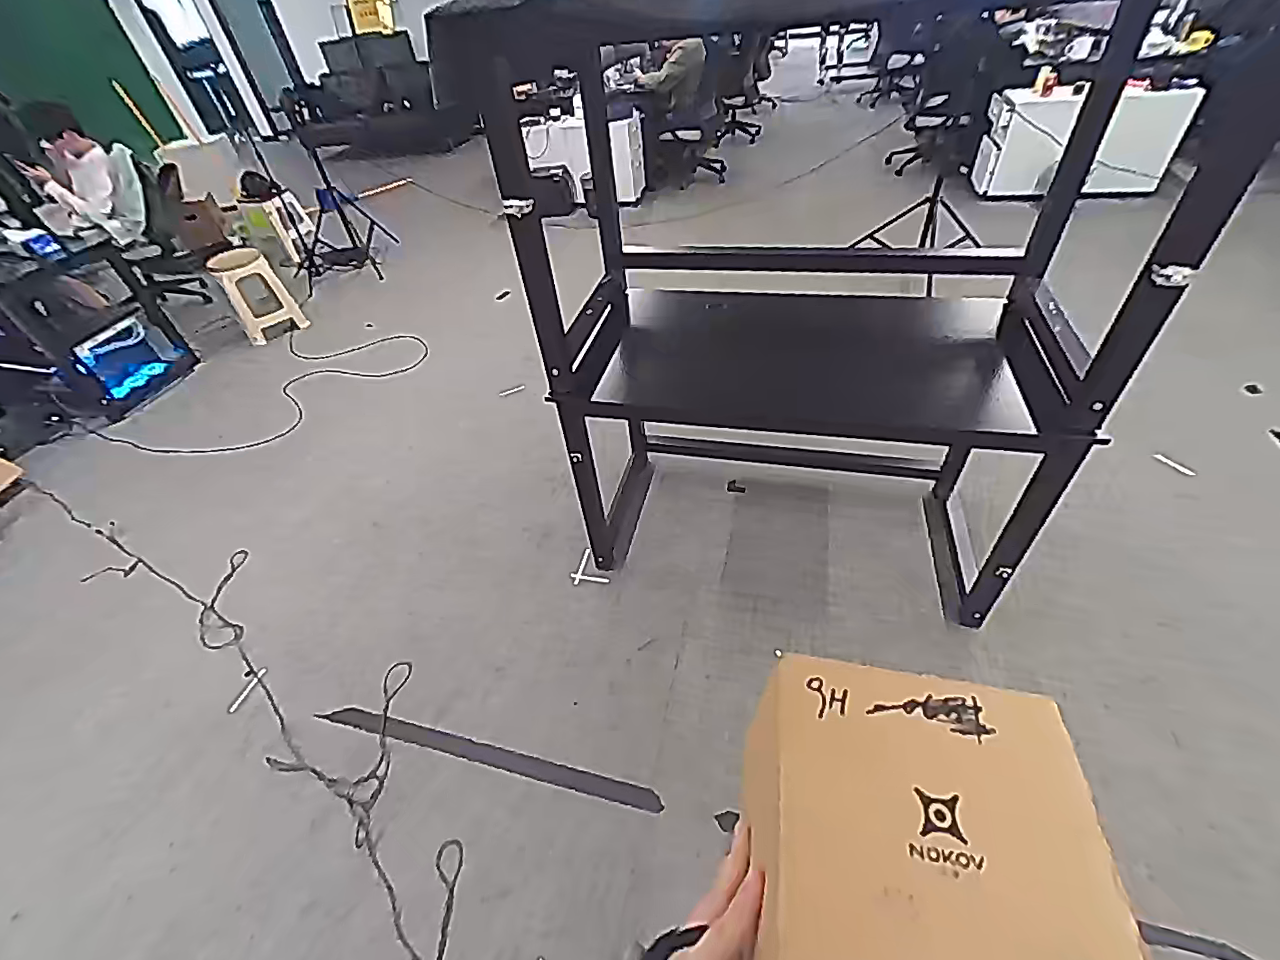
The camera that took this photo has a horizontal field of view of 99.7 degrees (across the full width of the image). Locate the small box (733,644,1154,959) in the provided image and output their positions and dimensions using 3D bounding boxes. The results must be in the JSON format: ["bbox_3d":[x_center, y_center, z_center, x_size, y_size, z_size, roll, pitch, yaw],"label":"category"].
[{"bbox_3d":[0.153,0.231,0.331,0.168,0.176,0.179,9,48,6],"label":"small box"}]
